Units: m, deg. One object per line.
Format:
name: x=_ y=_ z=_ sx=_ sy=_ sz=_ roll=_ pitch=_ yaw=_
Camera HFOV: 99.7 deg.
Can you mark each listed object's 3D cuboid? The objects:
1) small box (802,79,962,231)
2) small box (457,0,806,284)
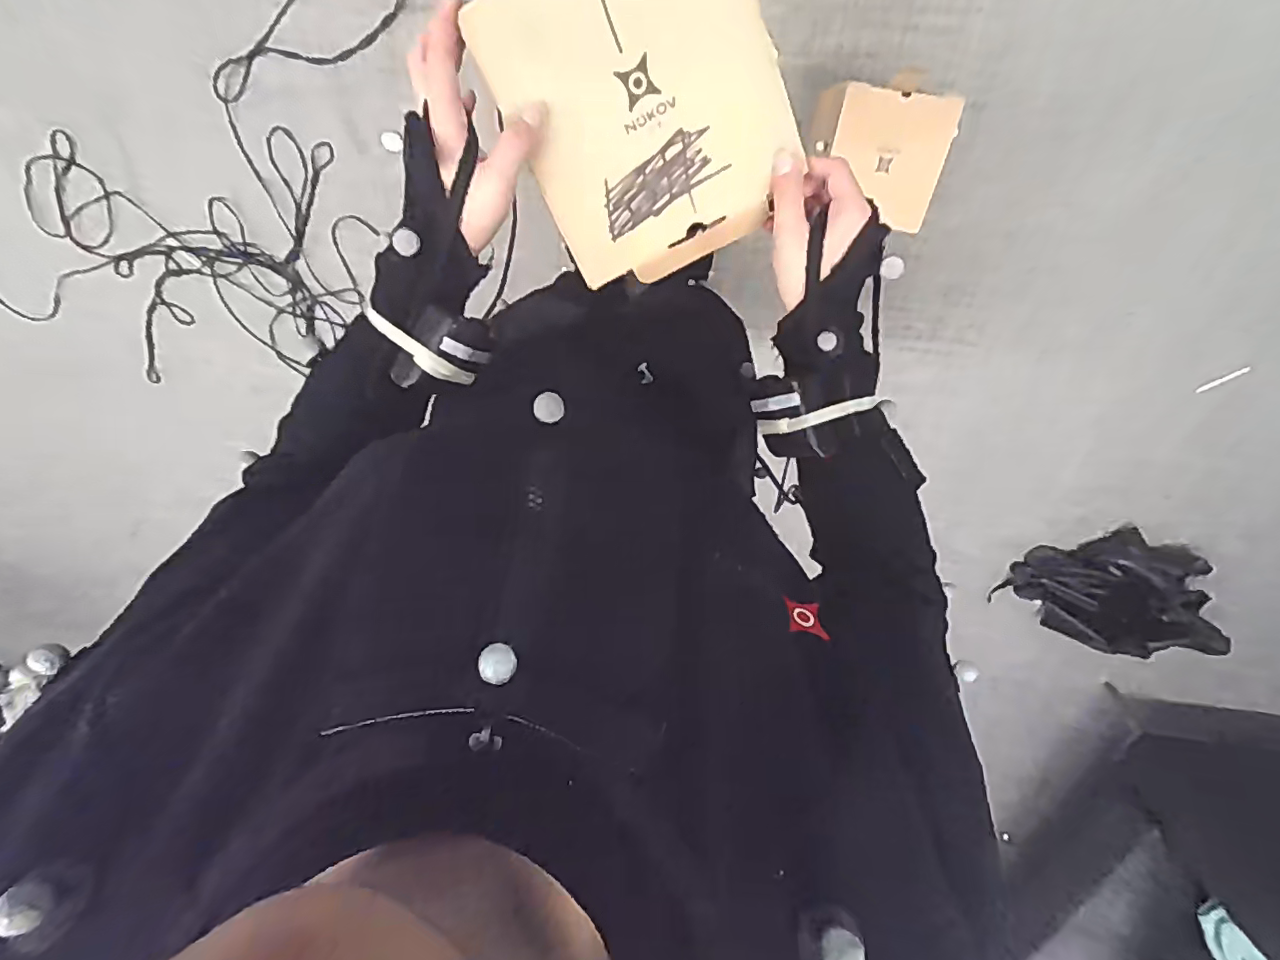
small box: x=0.364 y=-0.510 z=0.857 sx=0.168 sy=0.176 sz=0.179 roll=9 pitch=121 yaw=2
small box: x=0.002 y=-0.278 z=0.405 sx=0.168 sy=0.176 sz=0.179 roll=-24 pitch=117 yaw=12
